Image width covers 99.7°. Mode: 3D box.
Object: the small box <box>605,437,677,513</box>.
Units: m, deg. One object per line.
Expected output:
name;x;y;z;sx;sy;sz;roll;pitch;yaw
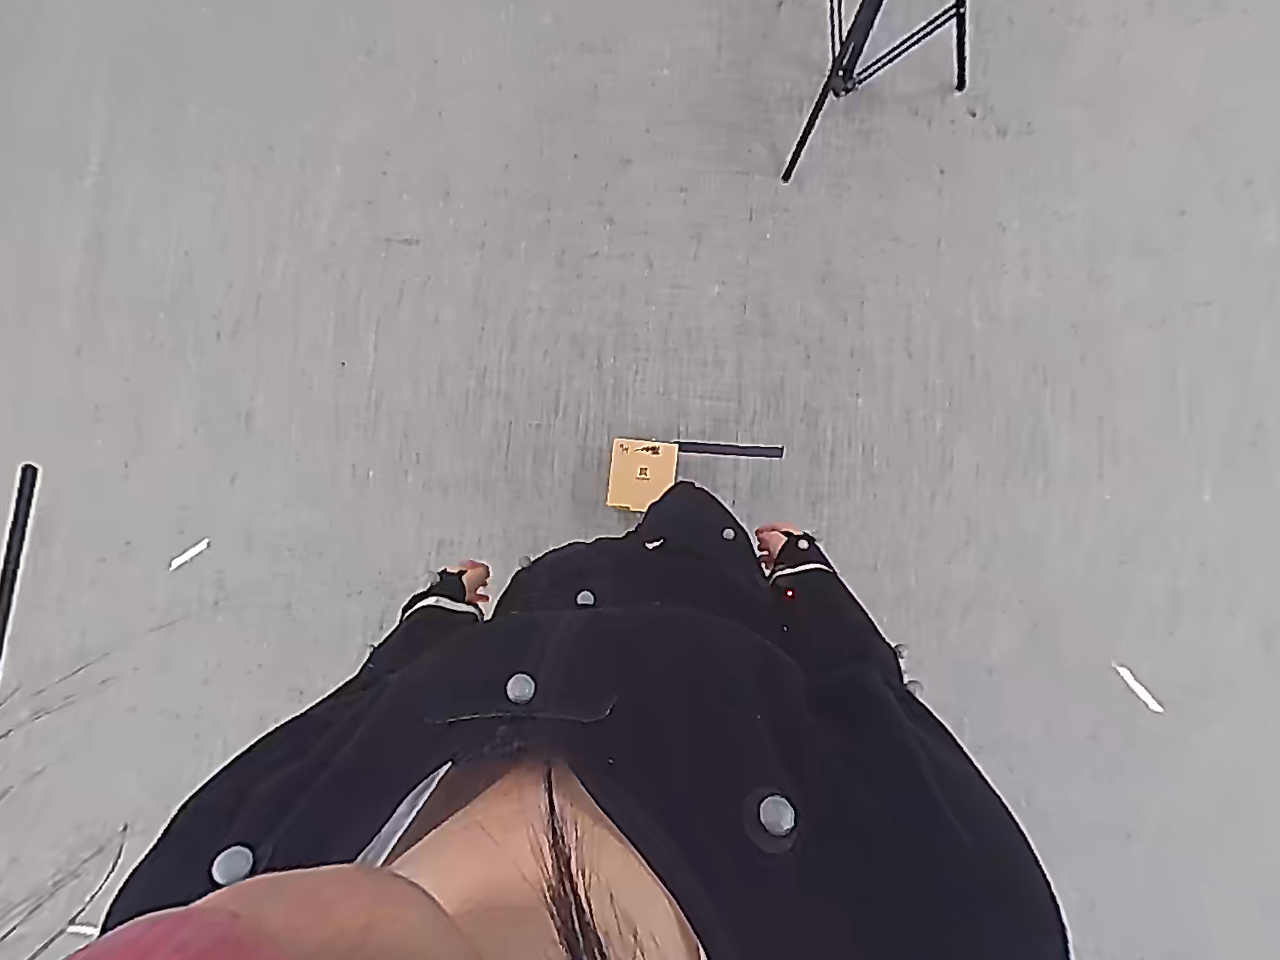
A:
small box;0.007;-0.009;1.433;0.168;0.176;0.179;7;86;2
